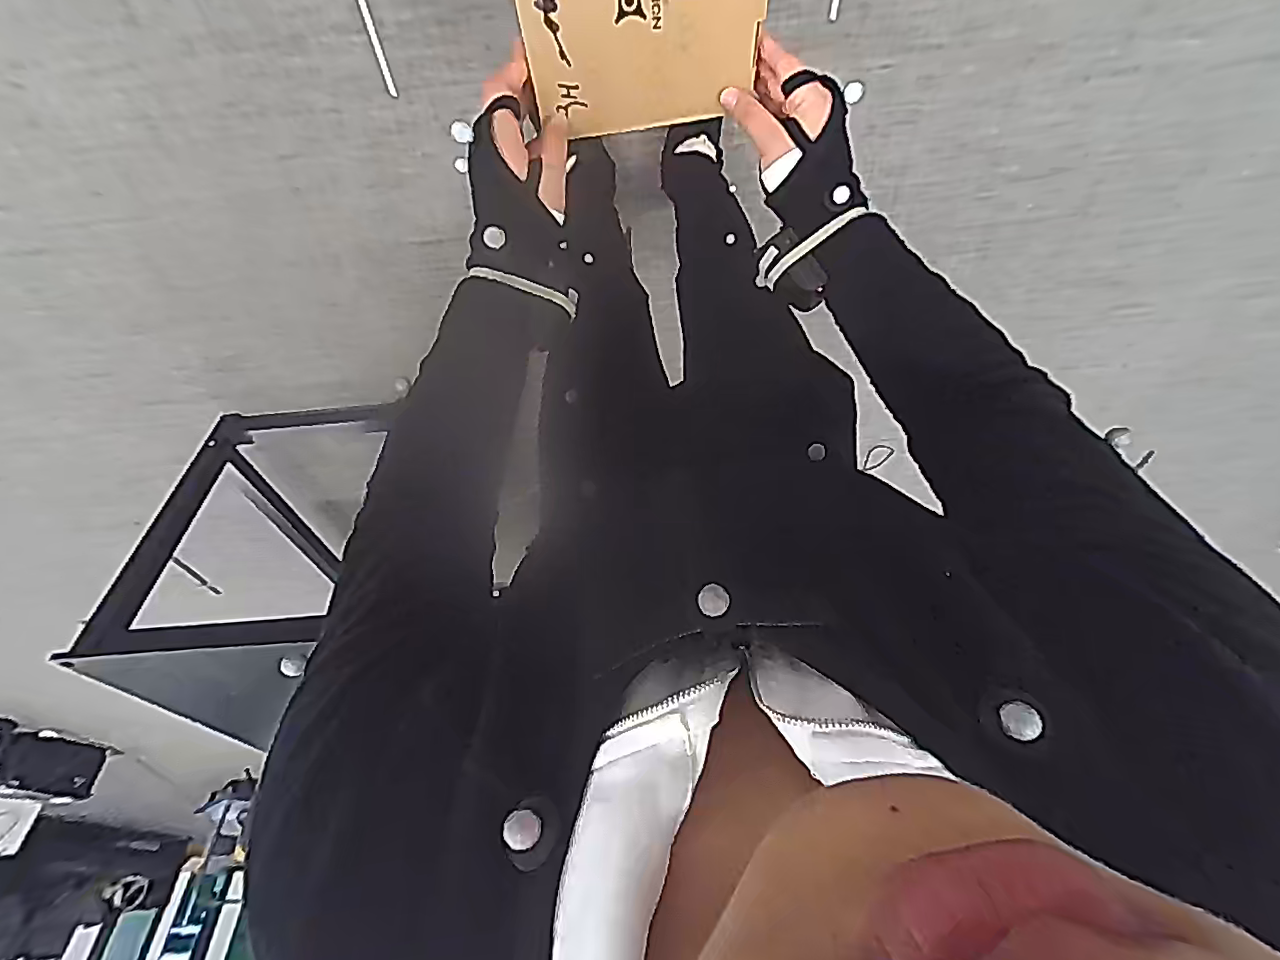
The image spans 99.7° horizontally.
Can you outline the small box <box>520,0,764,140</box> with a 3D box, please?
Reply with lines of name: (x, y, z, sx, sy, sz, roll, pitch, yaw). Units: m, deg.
small box: (-0.009, -0.402, 0.419, 0.179, 0.176, 0.168, -9, 148, -2)
